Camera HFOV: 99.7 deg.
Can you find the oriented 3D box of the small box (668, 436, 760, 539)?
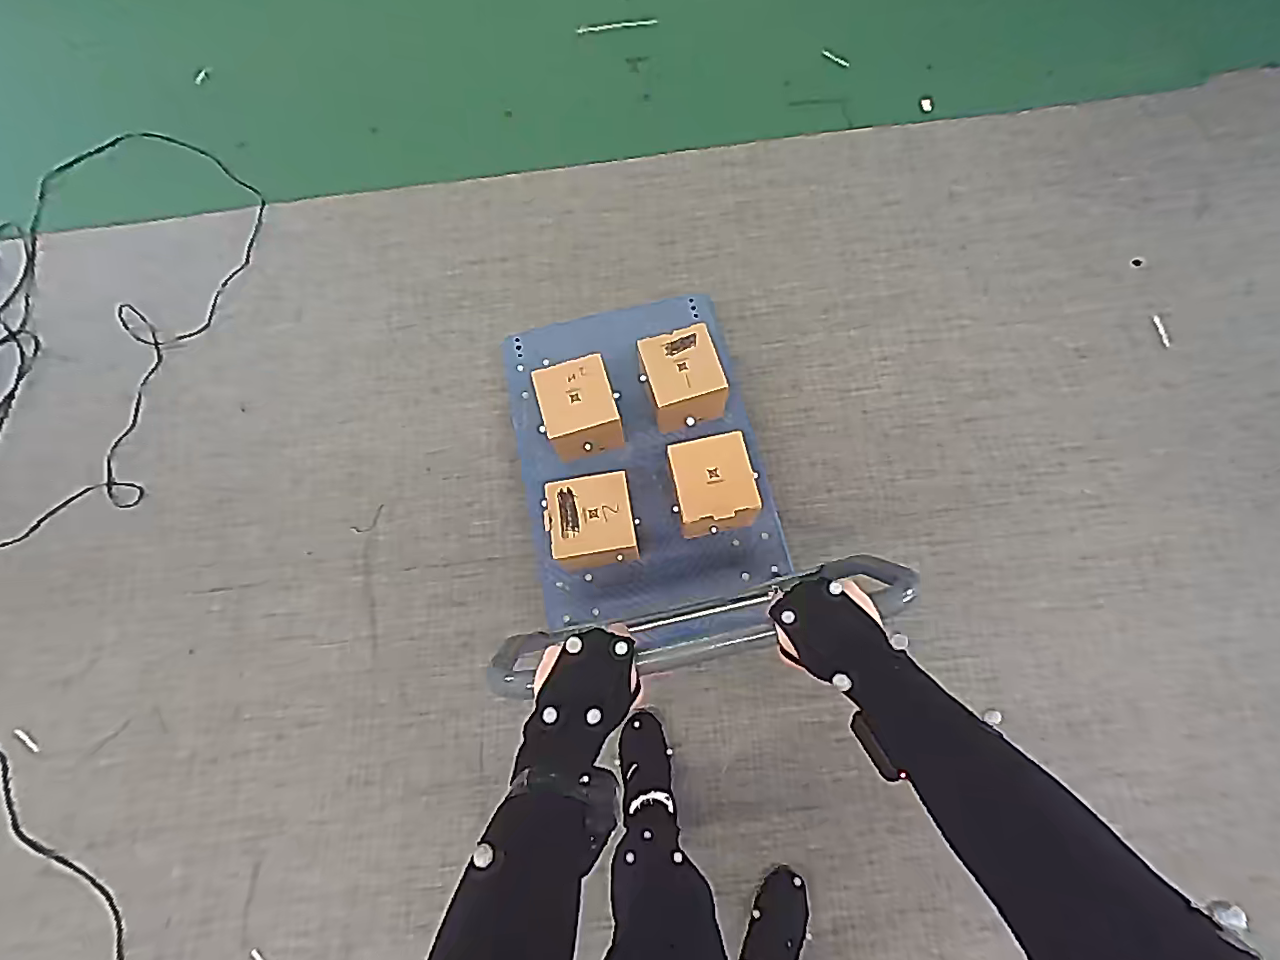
[{"bbox_3d":[0.161,0.022,1.235,0.168,0.176,0.179,-12,73,-1],"label":"small box"}]

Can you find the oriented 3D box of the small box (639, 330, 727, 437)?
[{"bbox_3d":[0.101,-0.229,1.315,0.168,0.176,0.179,-16,74,-1],"label":"small box"}]

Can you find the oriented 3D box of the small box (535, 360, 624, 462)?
[{"bbox_3d":[-0.140,-0.156,1.306,0.168,0.176,0.179,-16,72,-3],"label":"small box"}]
